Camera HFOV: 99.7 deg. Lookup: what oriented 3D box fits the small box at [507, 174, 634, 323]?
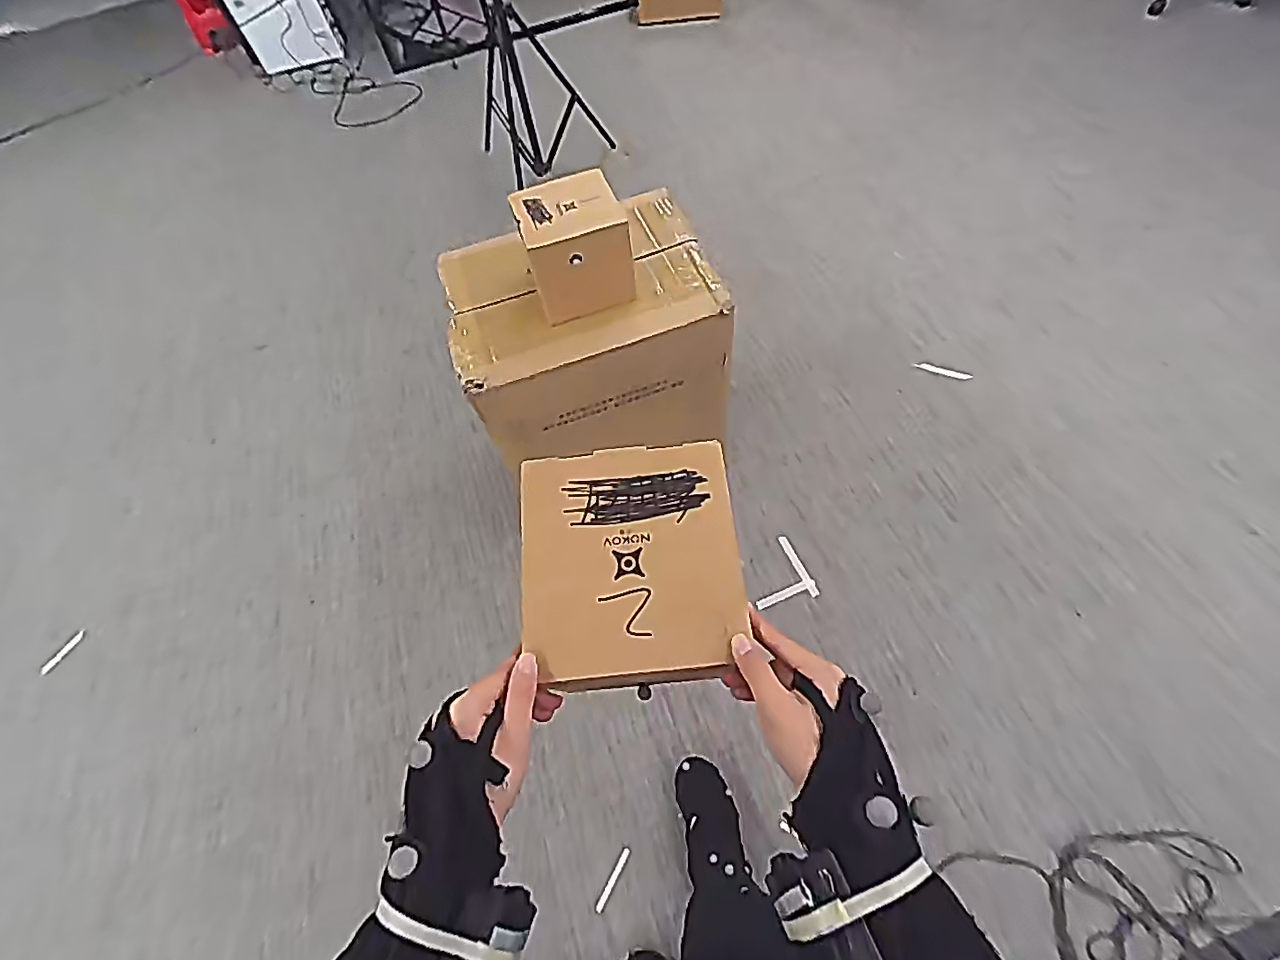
[{"bbox_3d":[-0.121,-0.417,0.991,0.179,0.176,0.168,-19,60,-5],"label":"small box"}]
